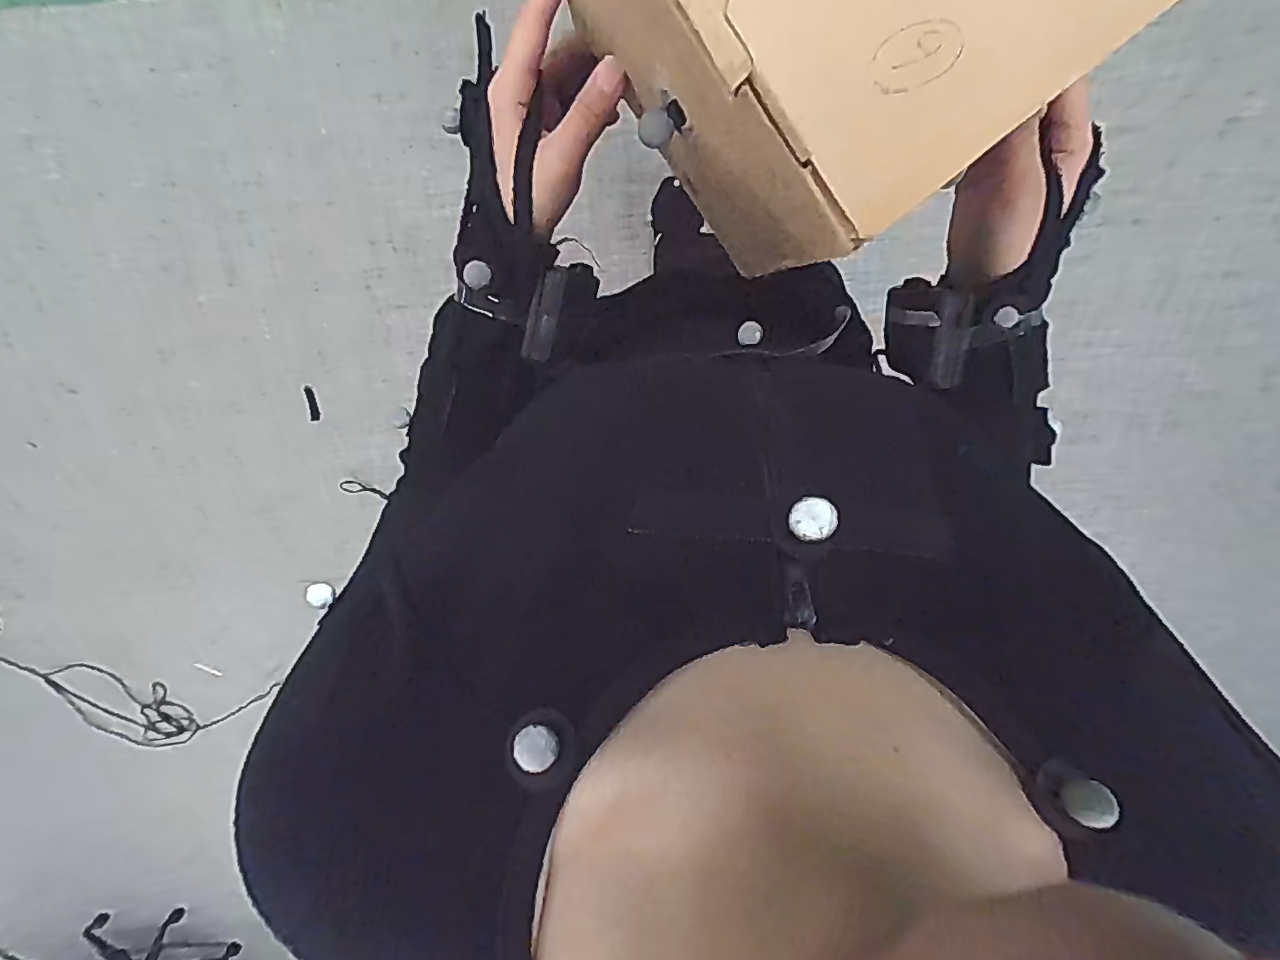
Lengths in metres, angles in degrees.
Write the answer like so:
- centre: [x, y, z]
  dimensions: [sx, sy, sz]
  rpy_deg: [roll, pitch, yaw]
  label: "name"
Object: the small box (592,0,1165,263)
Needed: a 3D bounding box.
- centre: [0.084, -0.208, 0.211]
  dimensions: [0.179, 0.176, 0.168]
  rpy_deg: [-37, 104, 11]
  label: "small box"
